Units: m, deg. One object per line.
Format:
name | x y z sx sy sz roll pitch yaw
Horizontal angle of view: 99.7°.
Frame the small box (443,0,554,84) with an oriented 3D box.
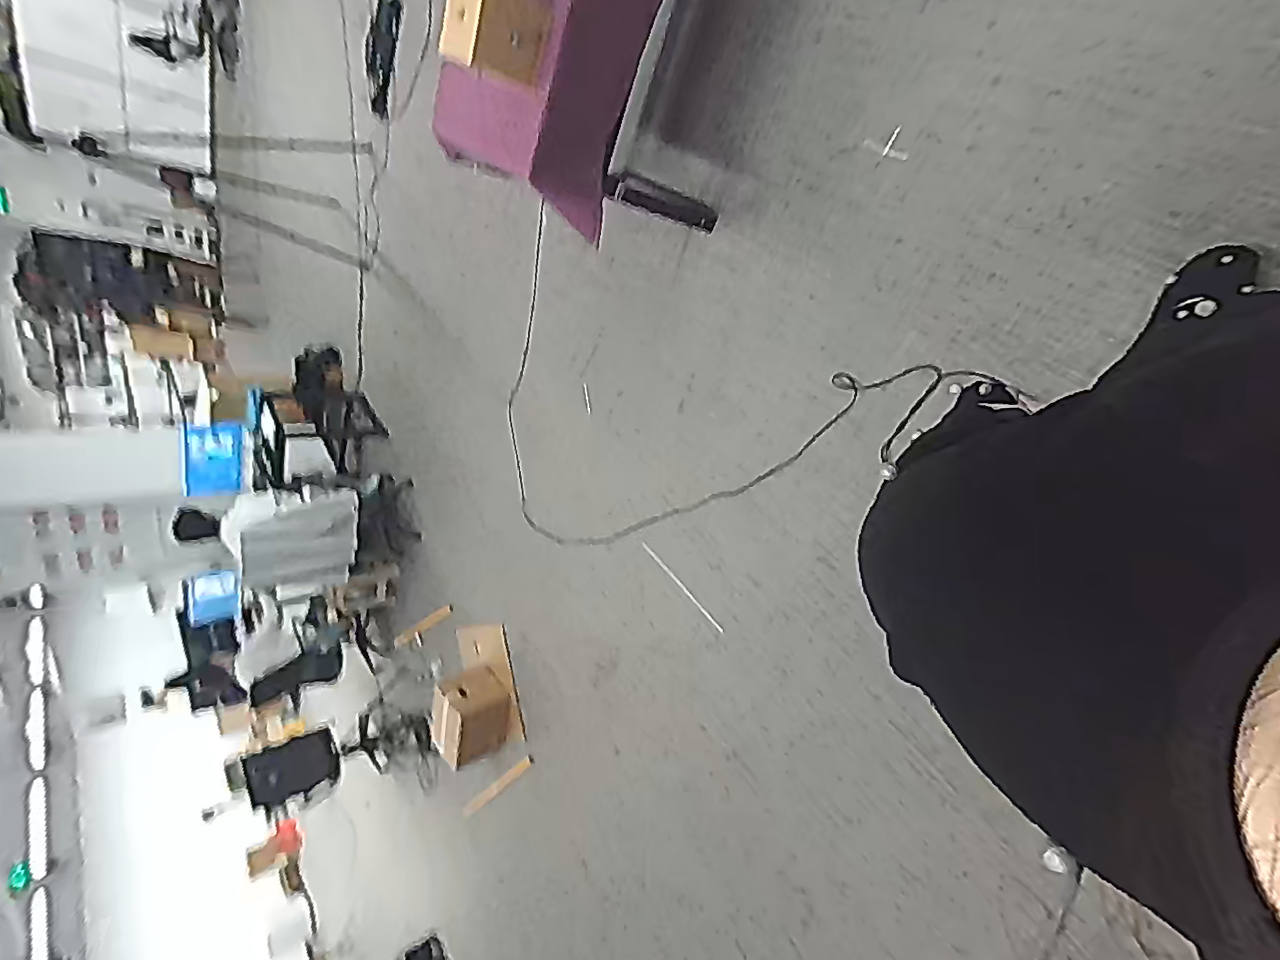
small box | -0.321 -1.038 1.232 0.179 0.176 0.168 44 124 33
